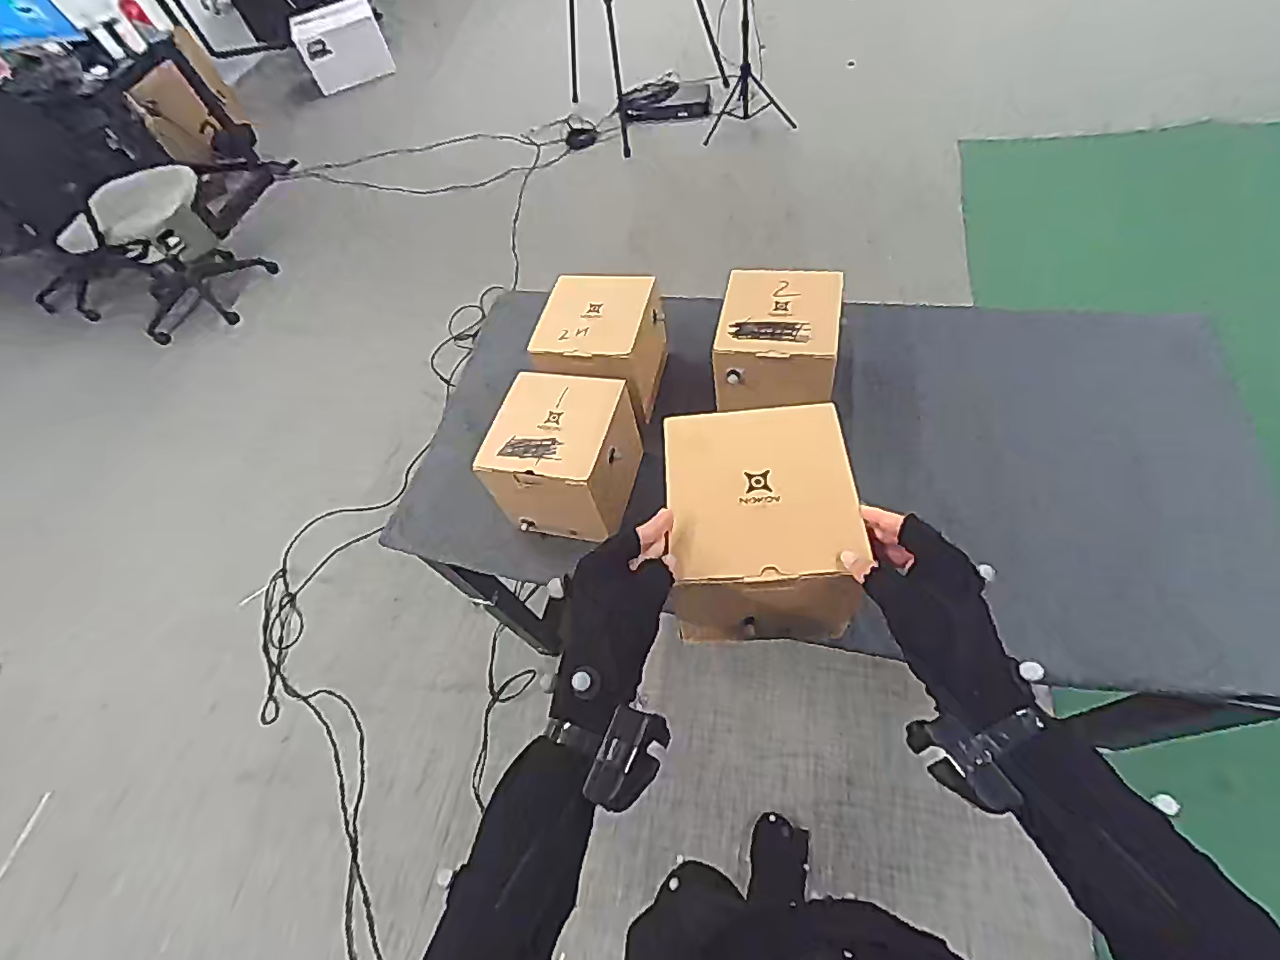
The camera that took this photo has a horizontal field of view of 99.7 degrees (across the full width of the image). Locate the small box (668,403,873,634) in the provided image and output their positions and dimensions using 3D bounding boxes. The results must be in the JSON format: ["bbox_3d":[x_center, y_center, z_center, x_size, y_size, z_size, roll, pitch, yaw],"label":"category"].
[{"bbox_3d":[0.116,0.045,0.551,0.168,0.176,0.179,-4,58,6],"label":"small box"}]
